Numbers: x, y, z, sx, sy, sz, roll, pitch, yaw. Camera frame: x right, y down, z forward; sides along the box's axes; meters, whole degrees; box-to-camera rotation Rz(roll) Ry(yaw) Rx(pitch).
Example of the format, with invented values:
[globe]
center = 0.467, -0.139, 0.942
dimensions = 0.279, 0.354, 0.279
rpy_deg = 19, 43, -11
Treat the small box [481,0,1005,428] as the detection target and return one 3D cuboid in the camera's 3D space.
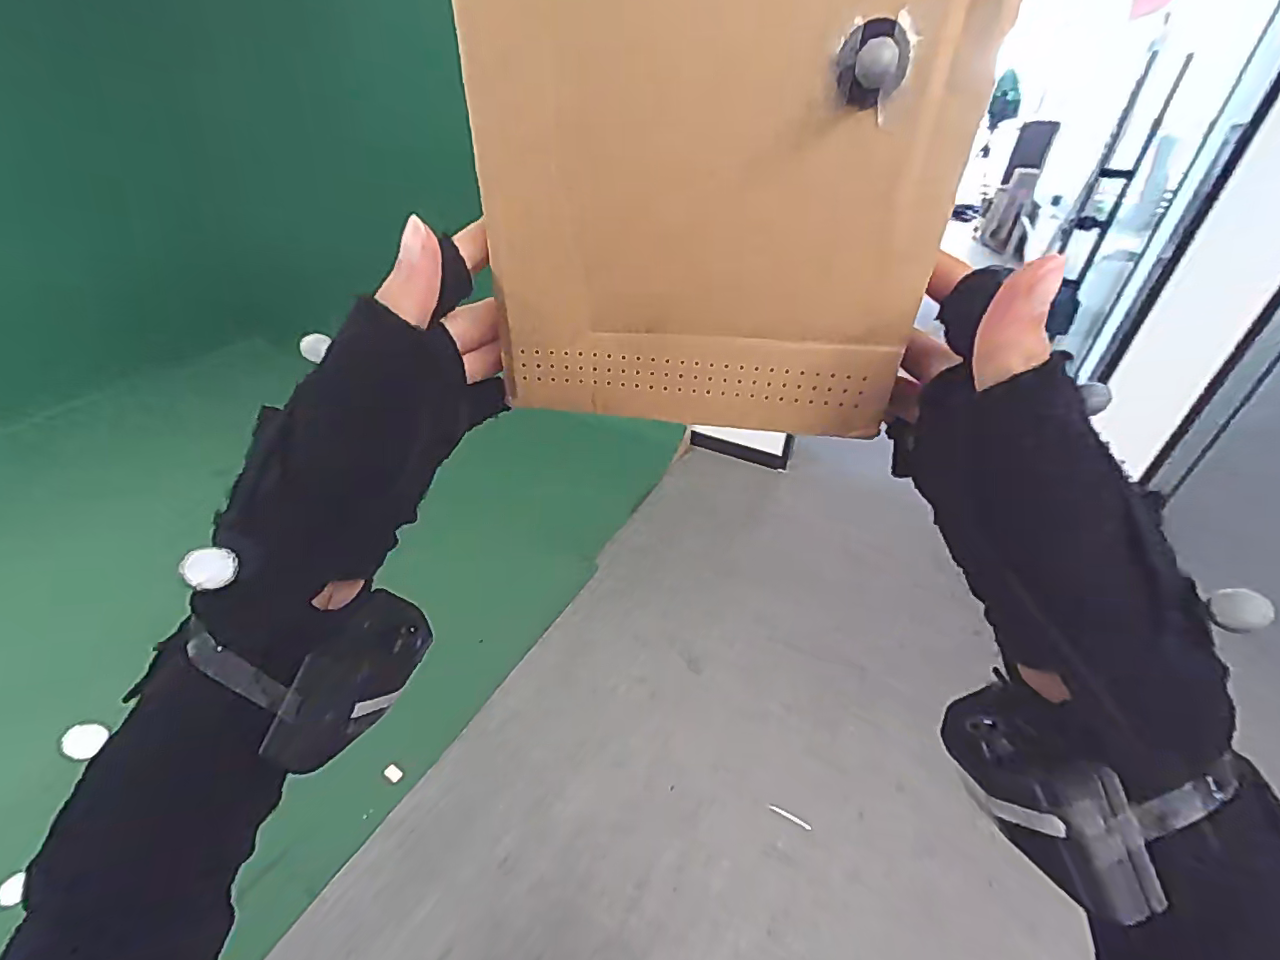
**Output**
[small box]
center = 0.037, -0.140, 0.276
dimensions = 0.179, 0.176, 0.168
rpy_deg = 6, 36, 4
